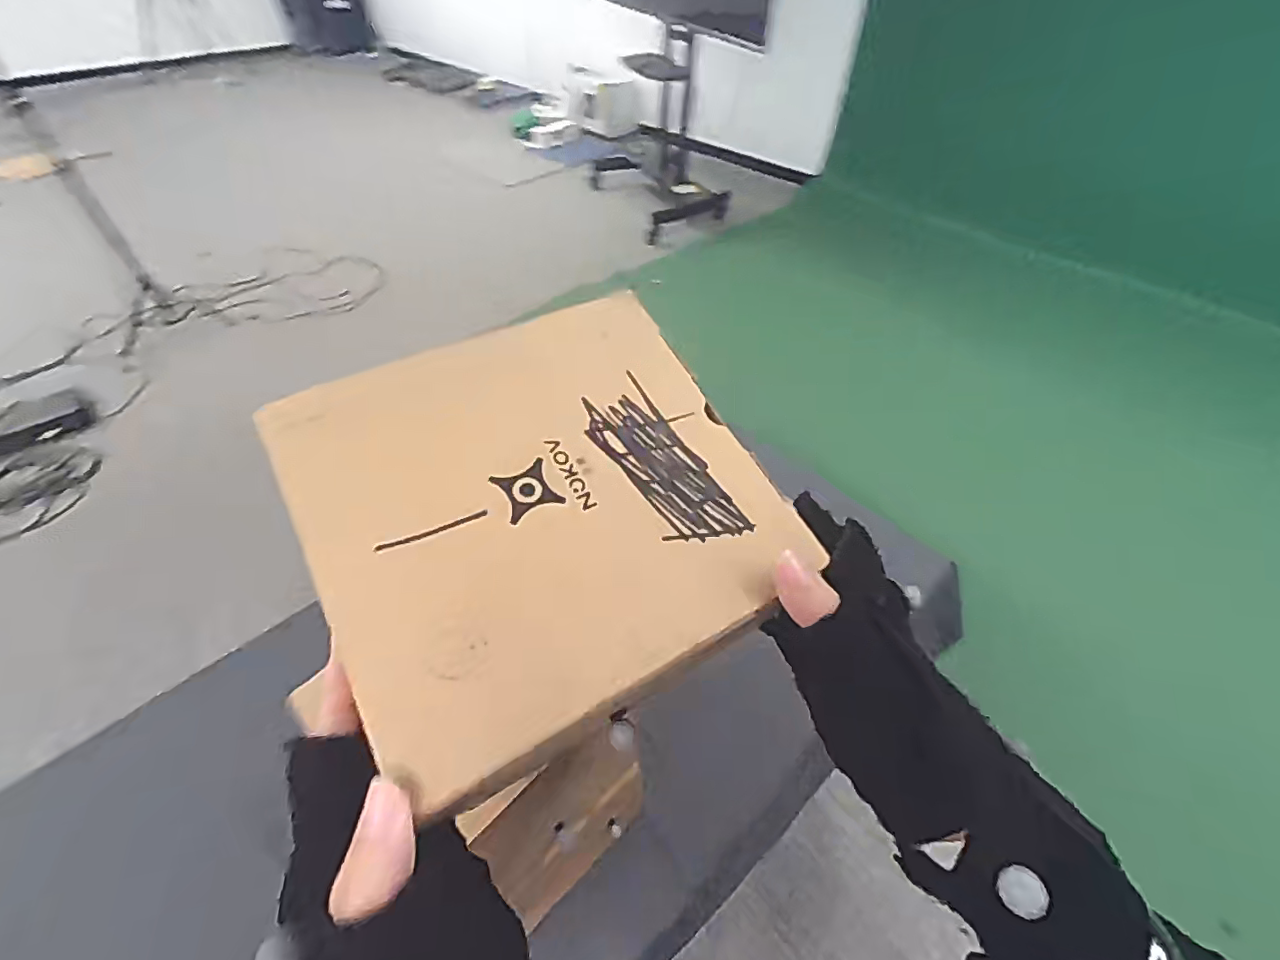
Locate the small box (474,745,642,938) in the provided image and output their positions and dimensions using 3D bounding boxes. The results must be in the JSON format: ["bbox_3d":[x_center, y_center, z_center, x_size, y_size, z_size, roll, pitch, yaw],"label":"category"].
[{"bbox_3d":[-0.115,0.315,0.552,0.179,0.176,0.168,-36,55,-28],"label":"small box"}]

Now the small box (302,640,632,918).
[{"bbox_3d":[-0.120,0.200,0.435,0.168,0.176,0.179,35,55,30],"label":"small box"}]

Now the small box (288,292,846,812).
[{"bbox_3d":[-0.040,0.039,0.285,0.179,0.176,0.168,-23,68,-21],"label":"small box"}]
